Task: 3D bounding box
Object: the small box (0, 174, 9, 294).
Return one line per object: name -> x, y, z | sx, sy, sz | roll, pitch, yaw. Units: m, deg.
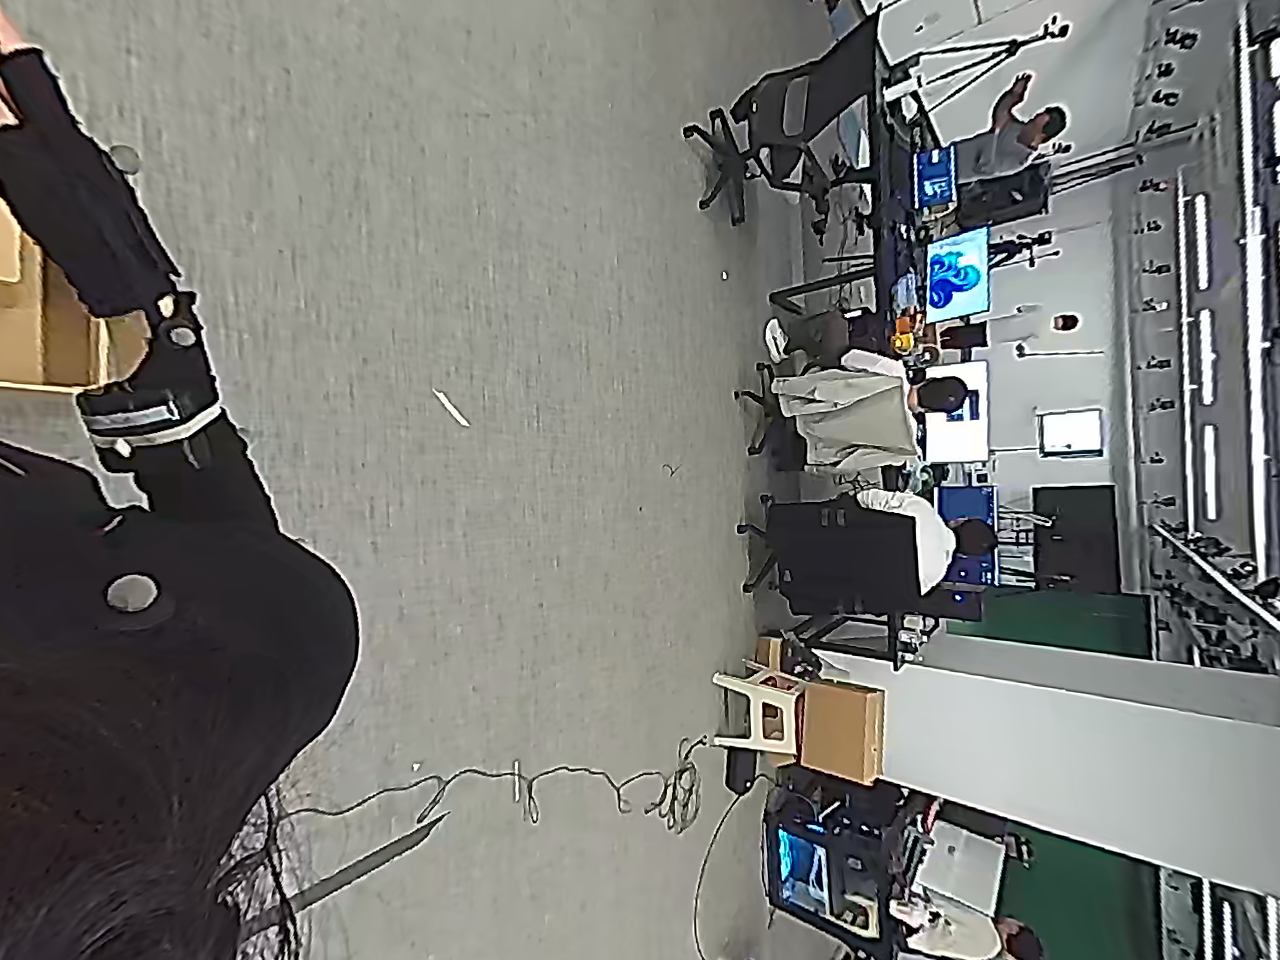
small box -> -1.161, -0.420, 0.881 | 0.168, 0.176, 0.179 | 3, 88, -49
